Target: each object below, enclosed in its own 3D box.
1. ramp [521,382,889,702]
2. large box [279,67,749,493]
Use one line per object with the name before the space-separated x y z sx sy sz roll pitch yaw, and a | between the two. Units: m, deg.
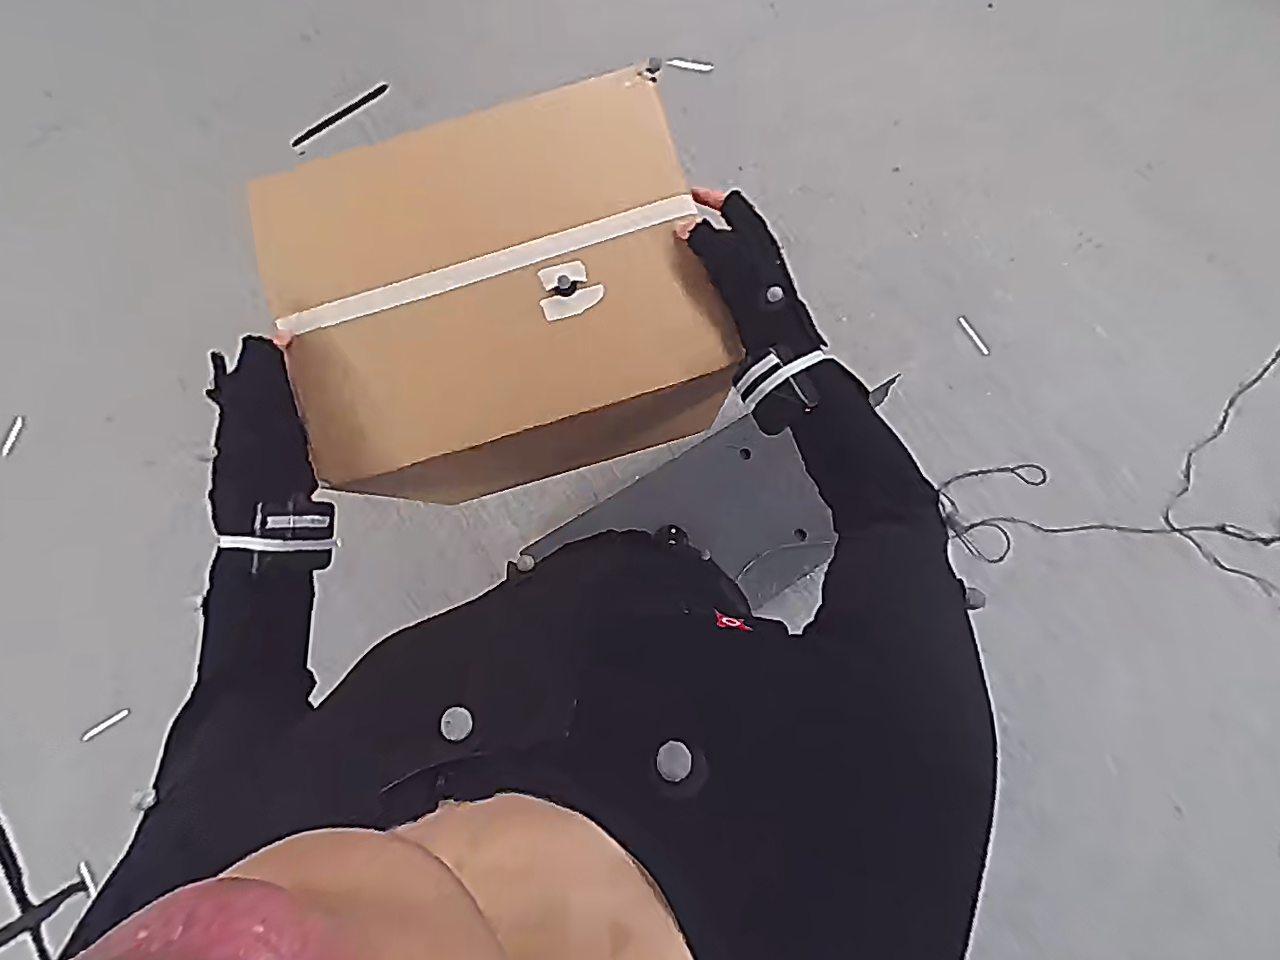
ramp | 0.210 0.137 1.563 0.991 0.206 0.509 -34 81 -2
large box | -0.126 -0.195 0.667 0.408 0.320 0.320 -16 84 -1
